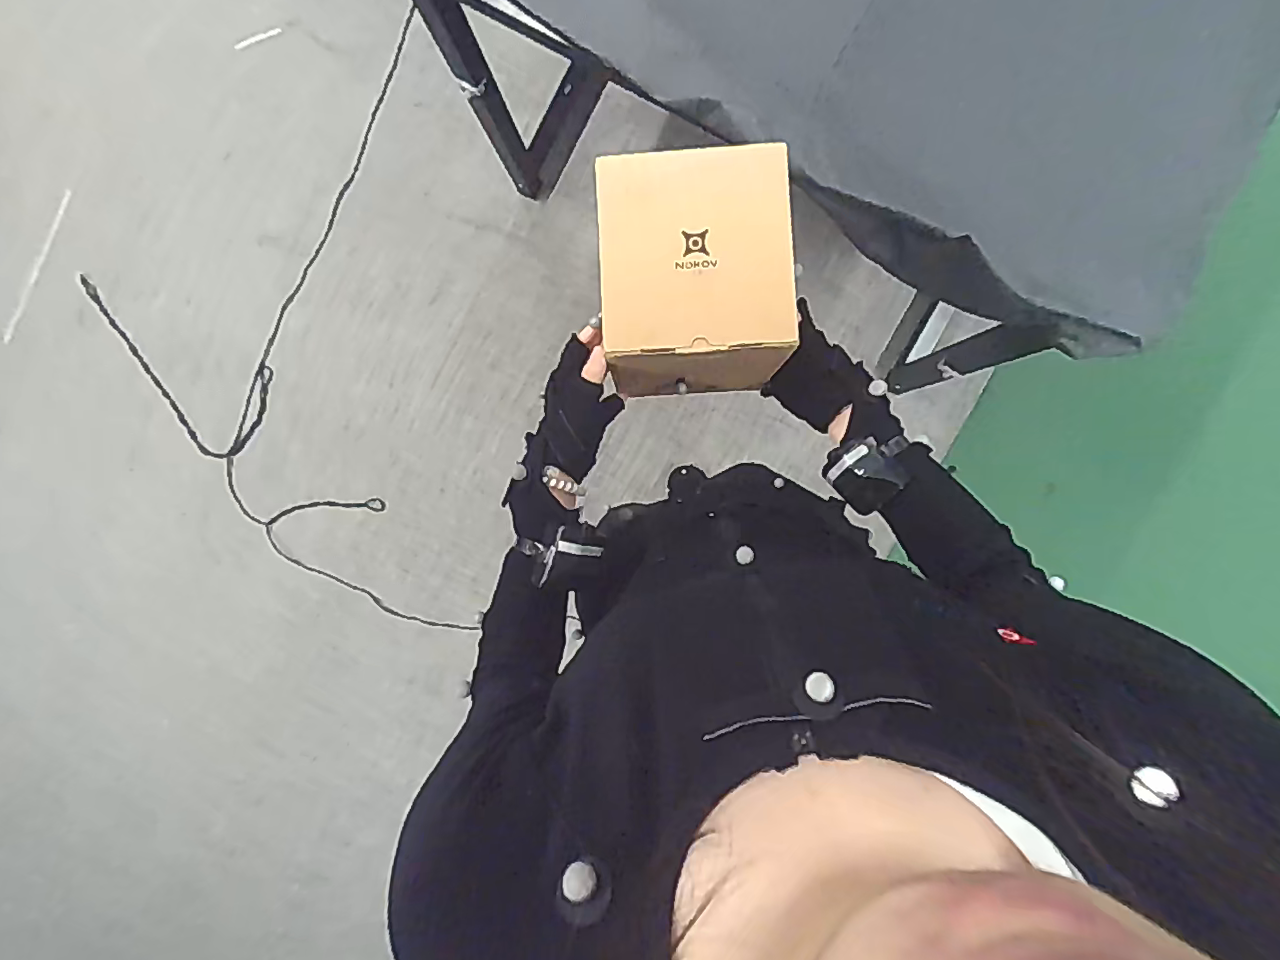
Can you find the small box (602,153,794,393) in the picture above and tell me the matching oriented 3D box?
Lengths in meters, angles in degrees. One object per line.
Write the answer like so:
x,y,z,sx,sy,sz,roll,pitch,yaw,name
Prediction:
0.051,-0.195,0.552,0.168,0.176,0.179,-3,88,2,small box
